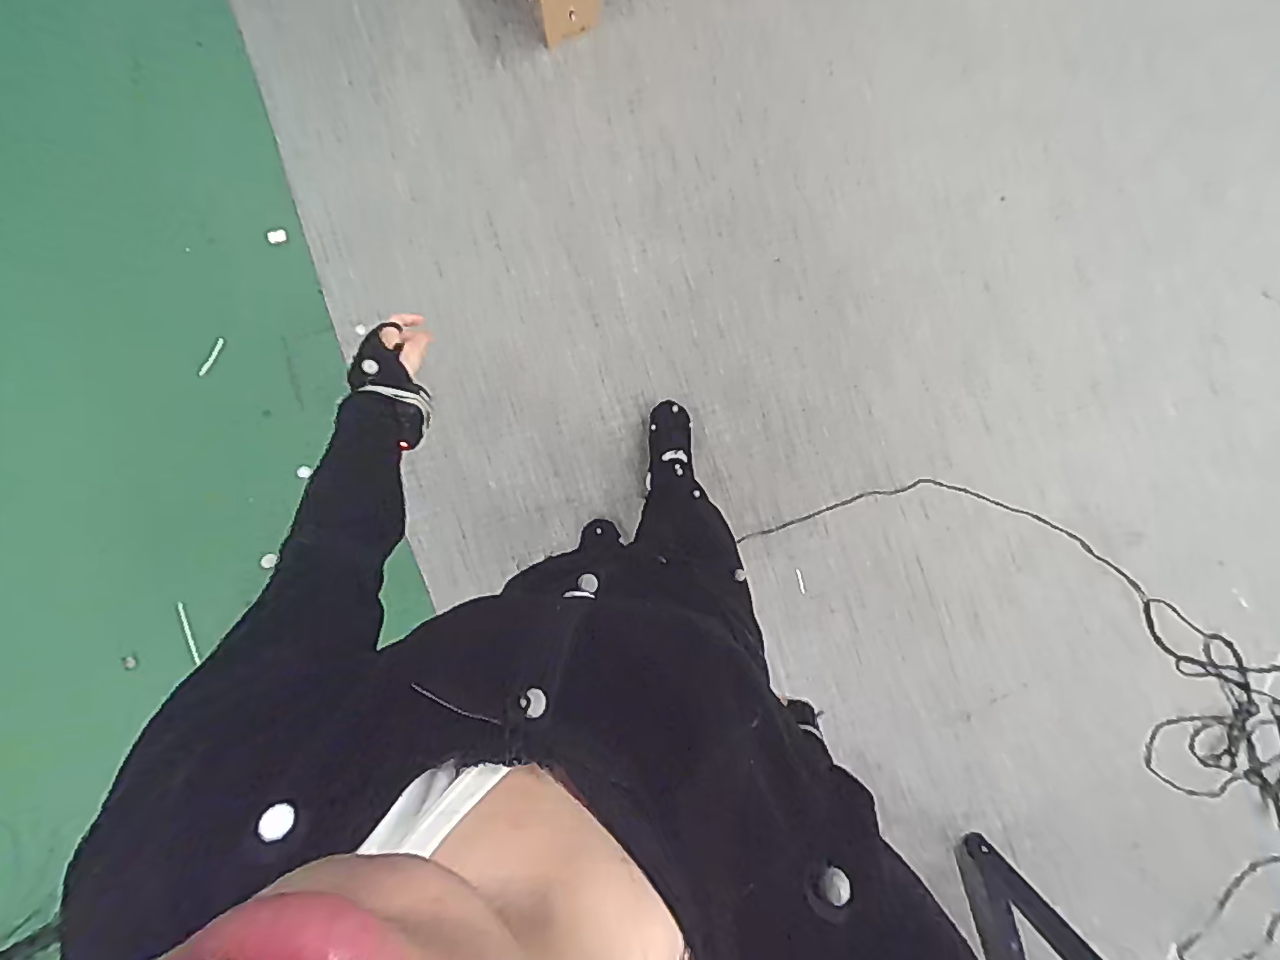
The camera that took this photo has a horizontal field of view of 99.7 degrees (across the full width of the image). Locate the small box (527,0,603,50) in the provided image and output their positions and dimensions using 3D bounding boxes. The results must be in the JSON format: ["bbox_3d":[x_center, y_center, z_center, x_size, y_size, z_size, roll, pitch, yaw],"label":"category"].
[{"bbox_3d":[-0.203,-1.268,1.401,0.168,0.176,0.179,-25,92,-1],"label":"small box"}]
